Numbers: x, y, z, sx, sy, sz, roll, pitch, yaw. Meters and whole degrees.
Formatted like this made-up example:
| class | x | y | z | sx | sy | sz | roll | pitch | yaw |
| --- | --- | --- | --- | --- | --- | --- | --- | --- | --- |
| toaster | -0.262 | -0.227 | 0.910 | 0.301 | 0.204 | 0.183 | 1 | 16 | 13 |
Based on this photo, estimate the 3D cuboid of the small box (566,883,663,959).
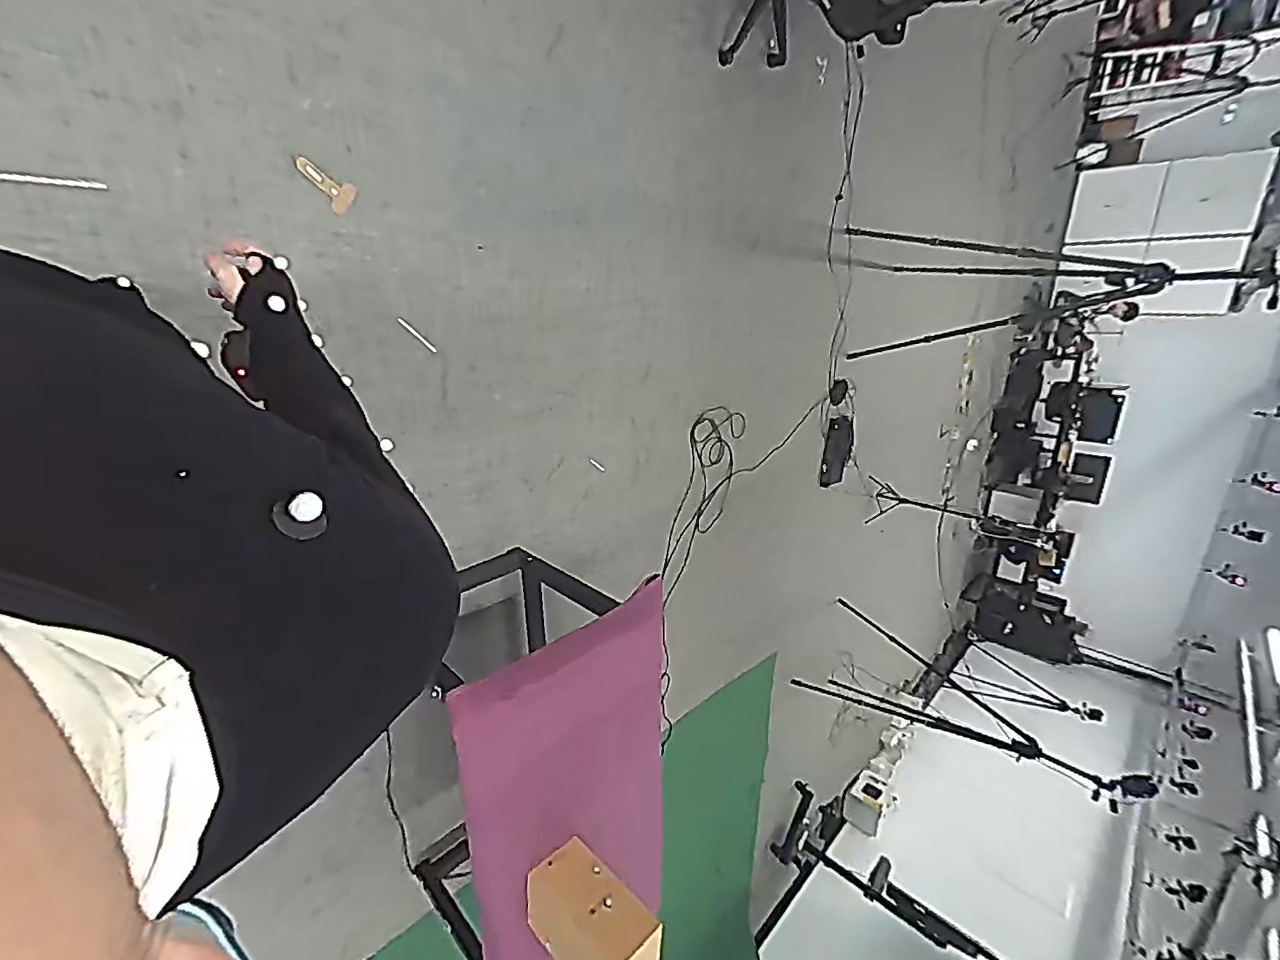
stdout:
| class | x | y | z | sx | sy | sz | roll | pitch | yaw |
| --- | --- | --- | --- | --- | --- | --- | --- | --- | --- |
| small box | -0.066 | 1.149 | 1.316 | 0.168 | 0.176 | 0.179 | -11 | 111 | -45 |
